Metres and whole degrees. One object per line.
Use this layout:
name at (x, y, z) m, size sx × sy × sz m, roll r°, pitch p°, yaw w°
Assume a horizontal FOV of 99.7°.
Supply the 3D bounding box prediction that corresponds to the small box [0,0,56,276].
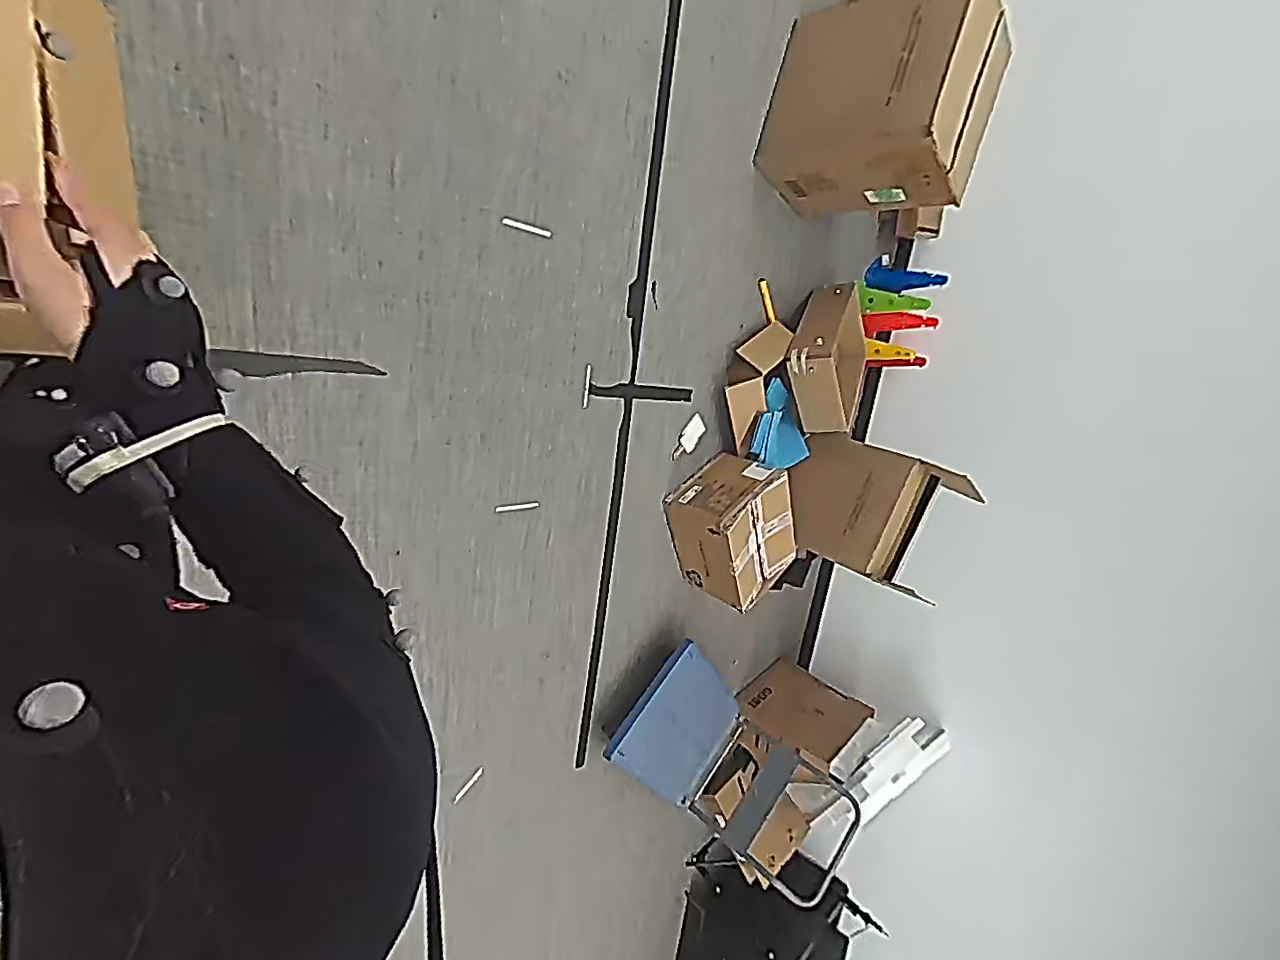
small box at (-0.461, -0.238, 0.309) m, size 0.168 × 0.176 × 0.179 m, roll -3°, pitch 95°, yaw -48°
